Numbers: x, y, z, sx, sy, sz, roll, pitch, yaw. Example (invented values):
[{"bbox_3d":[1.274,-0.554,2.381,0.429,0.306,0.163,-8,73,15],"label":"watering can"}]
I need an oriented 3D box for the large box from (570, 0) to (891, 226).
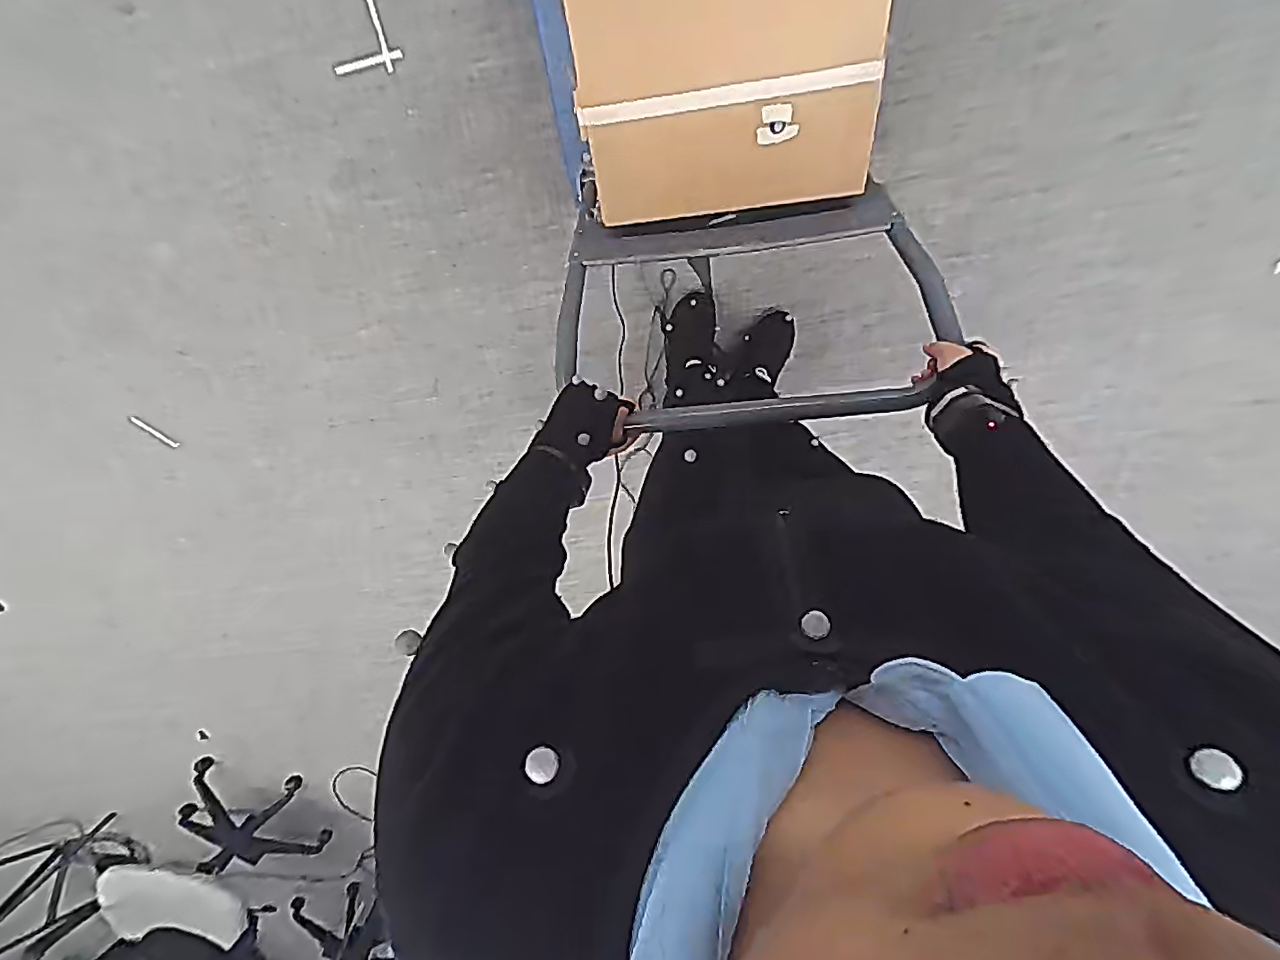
[{"bbox_3d":[0.127,-0.640,0.847,0.408,0.320,0.320,-5,137,6],"label":"large box"}]
